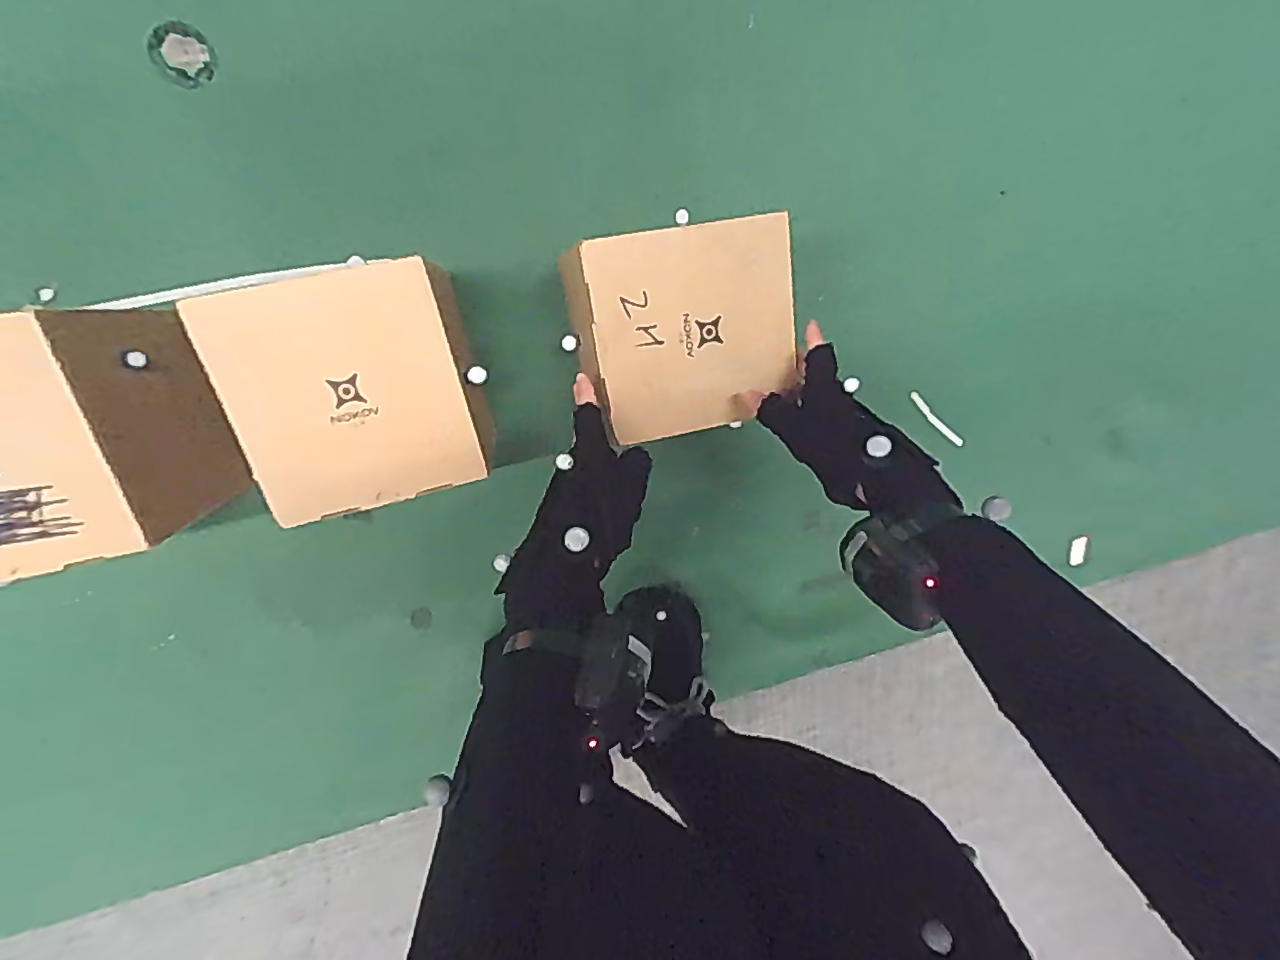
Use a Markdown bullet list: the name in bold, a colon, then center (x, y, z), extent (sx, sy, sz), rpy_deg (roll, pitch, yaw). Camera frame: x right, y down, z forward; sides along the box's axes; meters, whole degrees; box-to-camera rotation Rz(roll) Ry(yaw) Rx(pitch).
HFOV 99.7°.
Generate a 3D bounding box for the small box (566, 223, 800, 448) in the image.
- **small box**: center (0.035, -0.143, 0.525), extent (0.179, 0.176, 0.168), rpy_deg (-12, 110, -10)

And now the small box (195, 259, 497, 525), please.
- **small box**: center (-0.230, -0.085, 0.482), extent (0.168, 0.176, 0.179), rpy_deg (-14, 111, -8)
